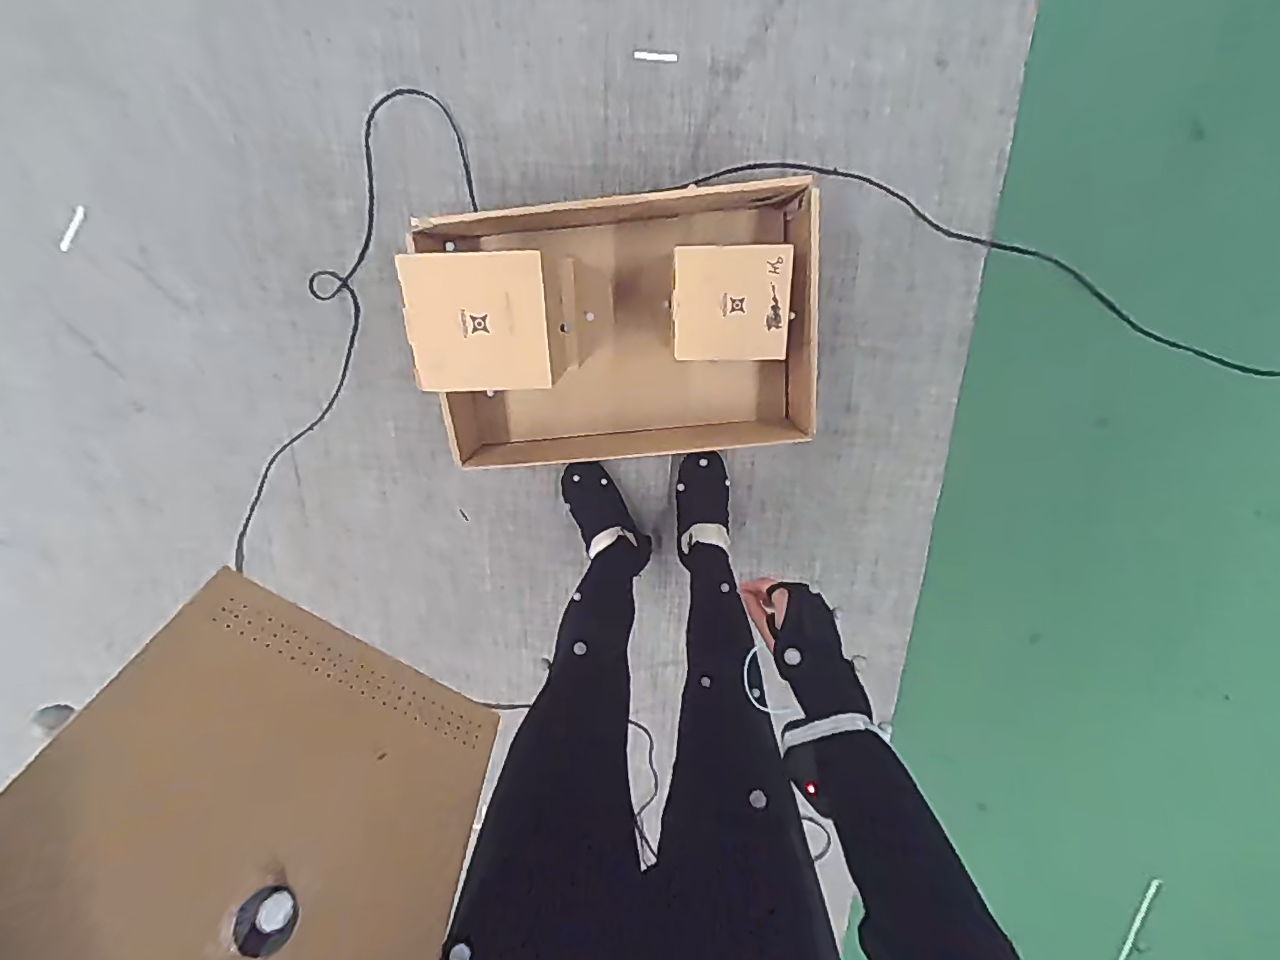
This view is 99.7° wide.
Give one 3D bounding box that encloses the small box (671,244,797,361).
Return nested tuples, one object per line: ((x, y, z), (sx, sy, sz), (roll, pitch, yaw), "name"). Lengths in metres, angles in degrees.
((0.142, -0.287, 0.882), (0.179, 0.176, 0.168), (1, 109, 1), "small box")

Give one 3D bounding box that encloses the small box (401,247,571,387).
((-0.194, -0.223, 0.735), (0.179, 0.176, 0.168), (0, 110, 0), "small box")
